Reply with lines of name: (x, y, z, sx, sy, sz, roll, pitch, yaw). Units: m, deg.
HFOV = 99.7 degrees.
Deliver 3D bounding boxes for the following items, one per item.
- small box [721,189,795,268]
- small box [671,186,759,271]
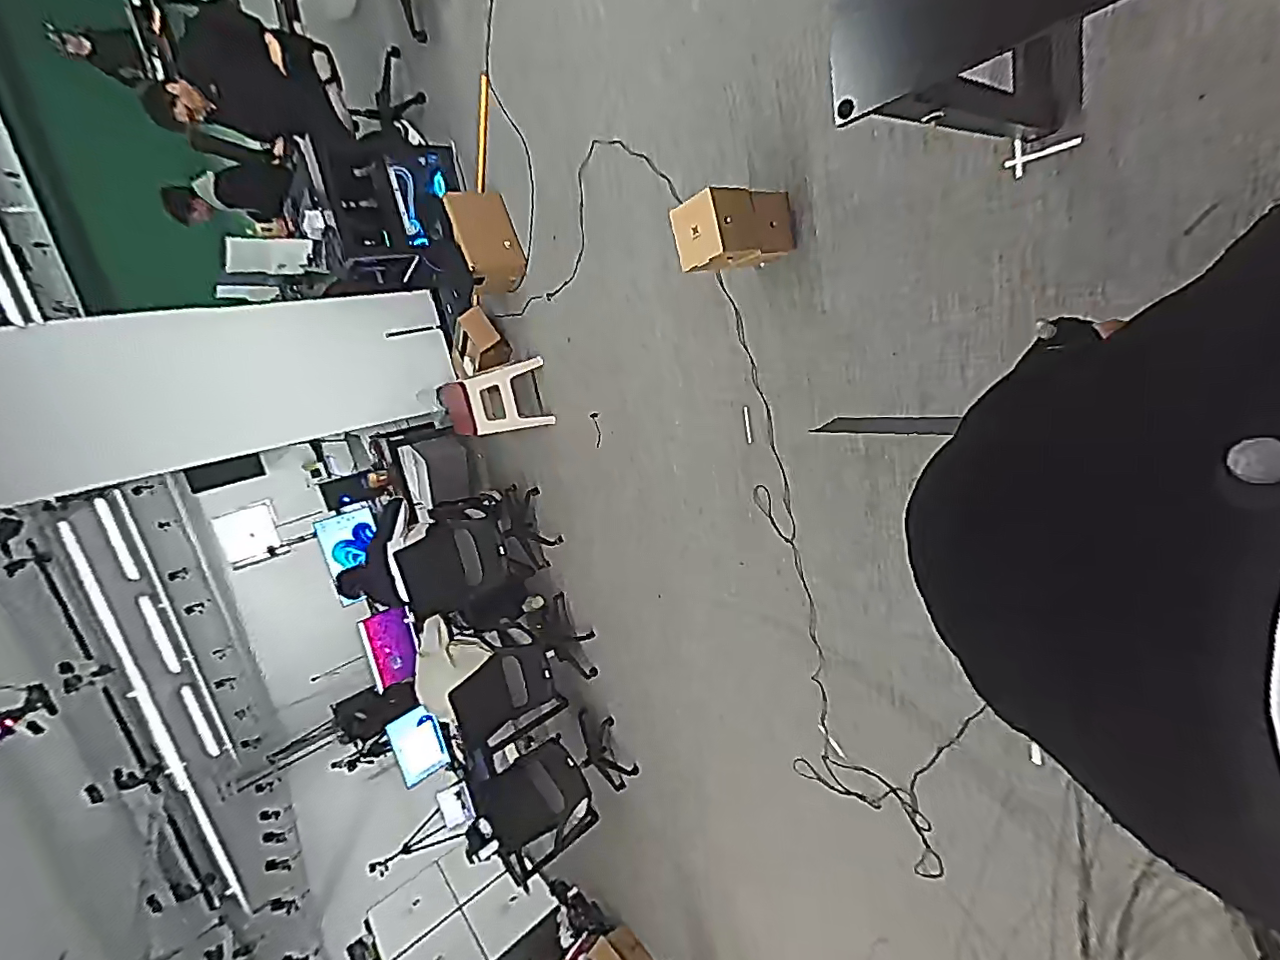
small box: (0.347, -0.763, 1.647, 0.168, 0.176, 0.179, 2, 109, 52)
small box: (0.221, -0.720, 1.553, 0.168, 0.176, 0.179, -4, 103, 52)
